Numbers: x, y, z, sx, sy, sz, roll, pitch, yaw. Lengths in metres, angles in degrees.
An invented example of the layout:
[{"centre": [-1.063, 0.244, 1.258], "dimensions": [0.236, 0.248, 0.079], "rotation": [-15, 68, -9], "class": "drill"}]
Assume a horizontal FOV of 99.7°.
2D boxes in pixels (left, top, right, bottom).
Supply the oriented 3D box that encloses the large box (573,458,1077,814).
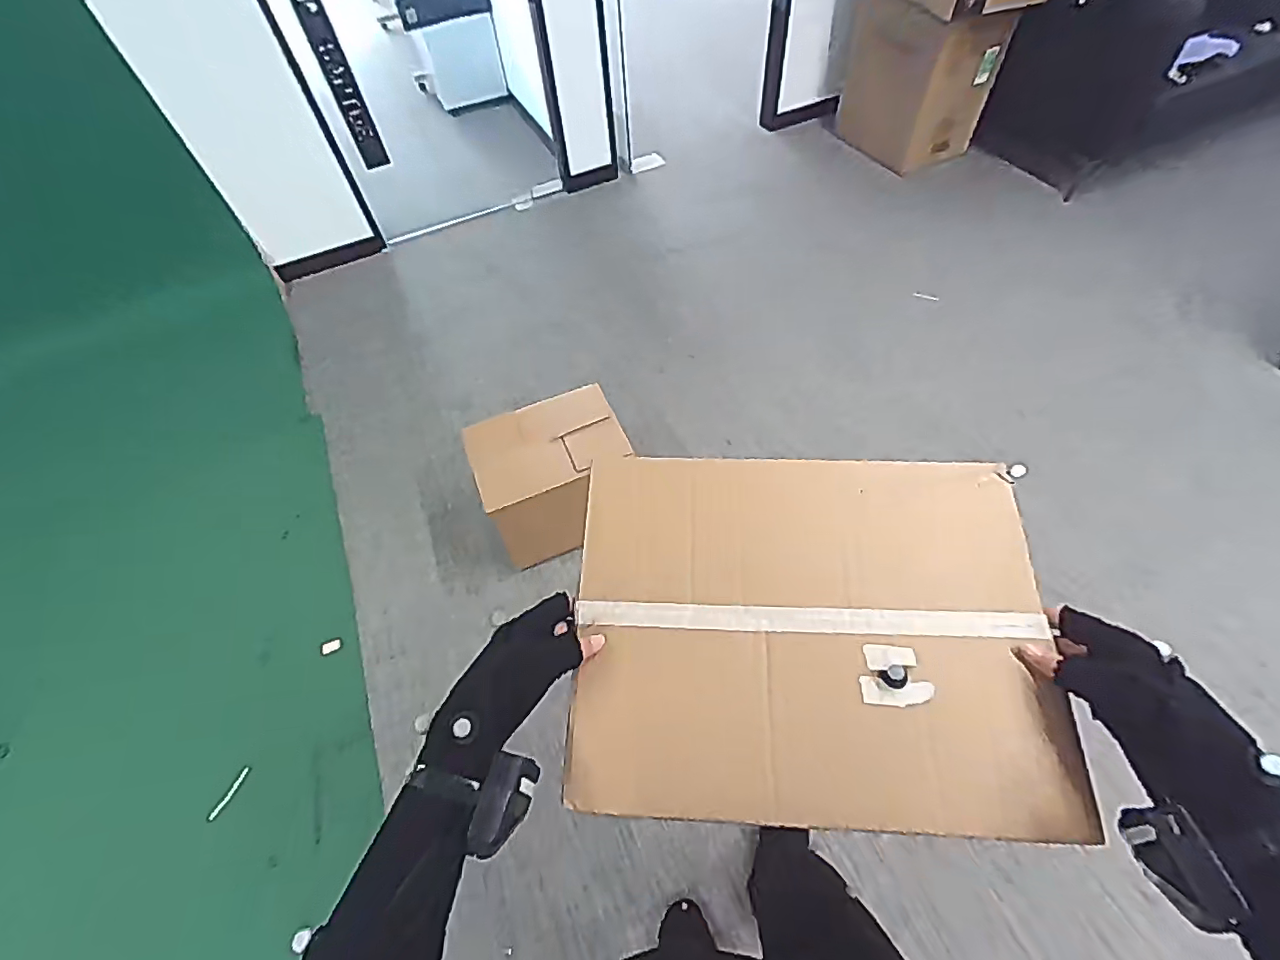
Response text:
[{"centre": [0.151, 0.181, 0.623], "dimensions": [0.408, 0.320, 0.320], "rotation": [1, 66, 3], "class": "large box"}]
